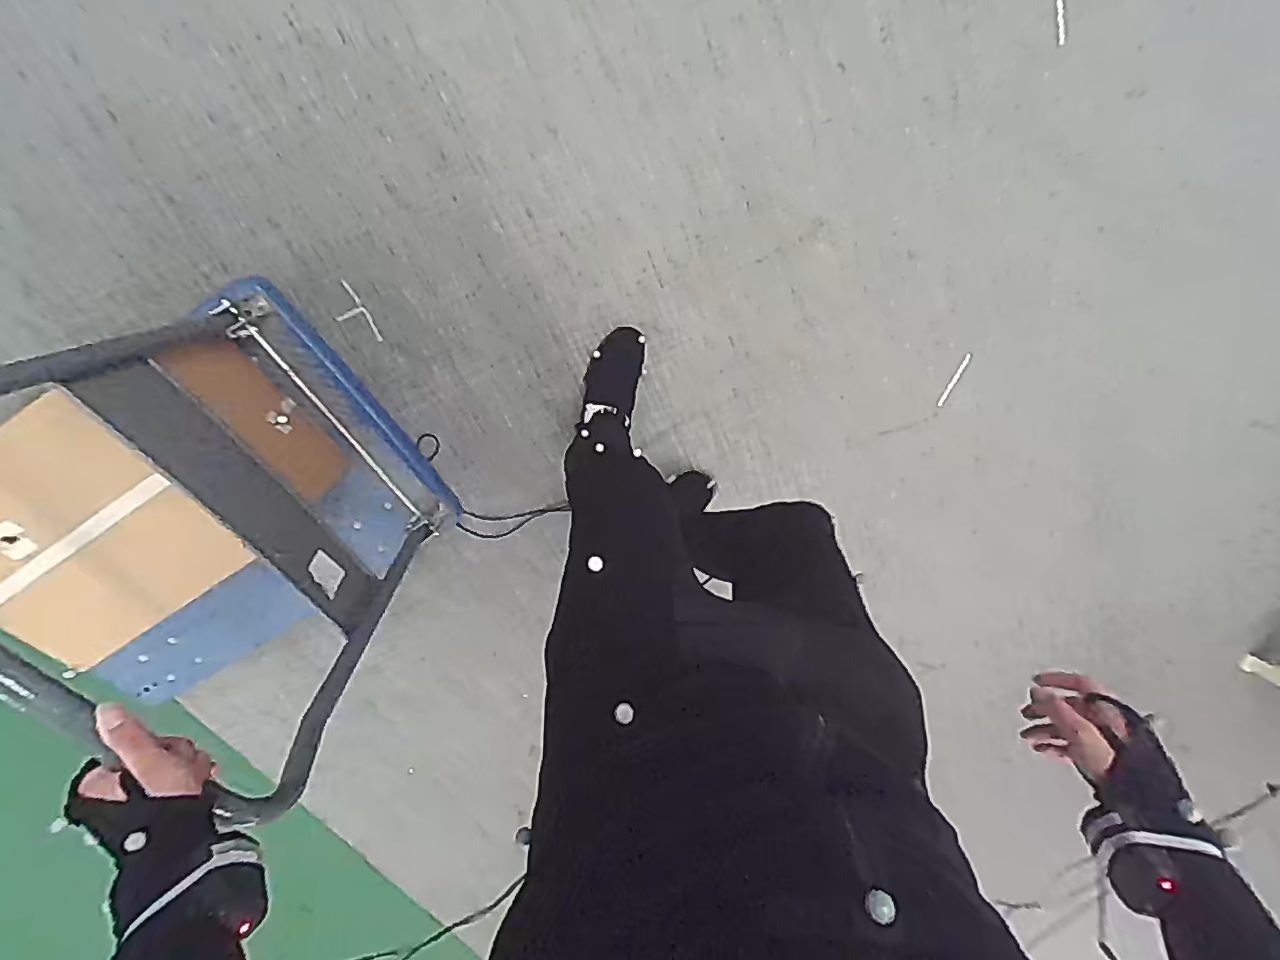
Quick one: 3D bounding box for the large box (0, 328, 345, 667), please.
[{"bbox_3d":[-0.792,0.012,0.885,0.408,0.320,0.320,-32,115,6],"label":"large box"}]
